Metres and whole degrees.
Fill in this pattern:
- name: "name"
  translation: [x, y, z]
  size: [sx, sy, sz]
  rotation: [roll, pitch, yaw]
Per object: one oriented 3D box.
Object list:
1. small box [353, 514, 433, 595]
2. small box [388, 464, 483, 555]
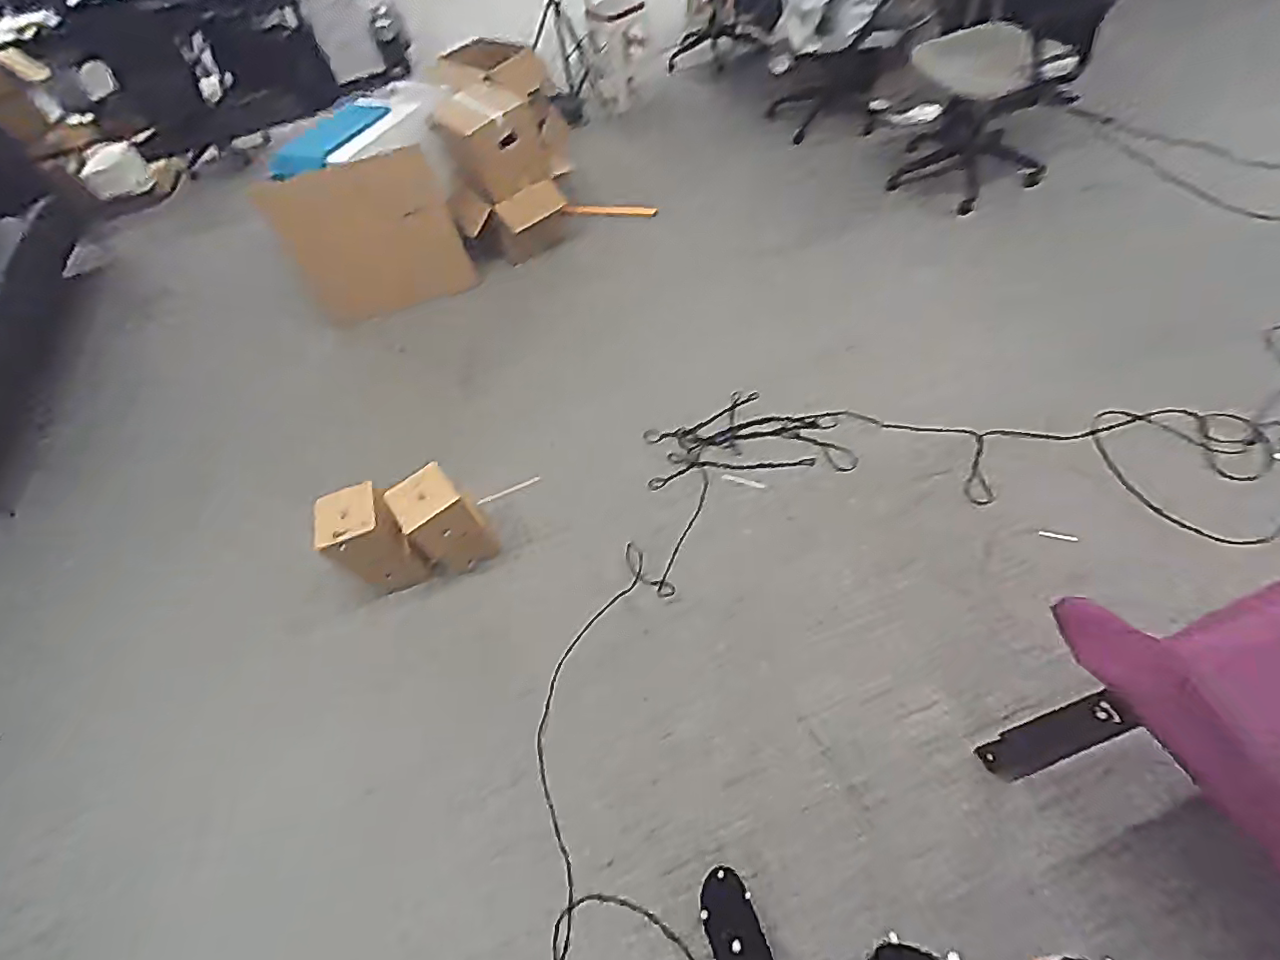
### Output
- name: "small box"
  translation: [-0.765, 0.233, 1.690]
  size: [0.179, 0.176, 0.168]
  rotation: [-21, 54, -4]
- name: "small box"
  translation: [-0.583, 0.093, 1.556]
  size: [0.168, 0.176, 0.179]
  rotation: [-36, 56, -14]
